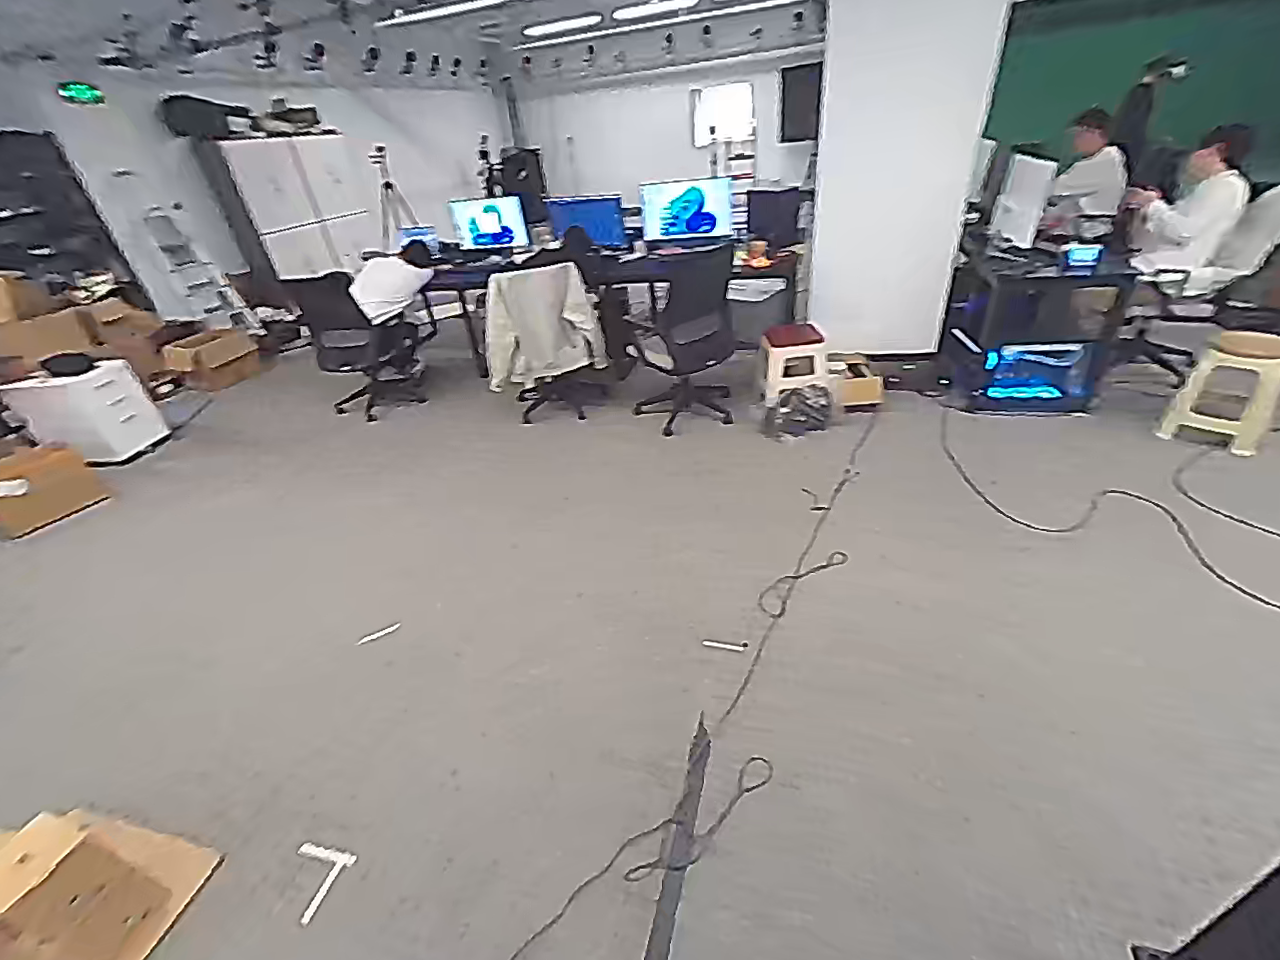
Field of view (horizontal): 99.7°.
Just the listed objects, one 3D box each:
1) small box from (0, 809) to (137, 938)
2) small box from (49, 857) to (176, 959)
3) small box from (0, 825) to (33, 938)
[{"bbox_3d":[-1.336,0.905,1.243,0.179,0.176,0.168,7,36,19],"label":"small box"},{"bbox_3d":[-1.320,1.041,1.331,0.179,0.176,0.168,5,36,16],"label":"small box"},{"bbox_3d":[-1.621,1.037,1.400,0.168,0.176,0.179,0,33,13],"label":"small box"}]
